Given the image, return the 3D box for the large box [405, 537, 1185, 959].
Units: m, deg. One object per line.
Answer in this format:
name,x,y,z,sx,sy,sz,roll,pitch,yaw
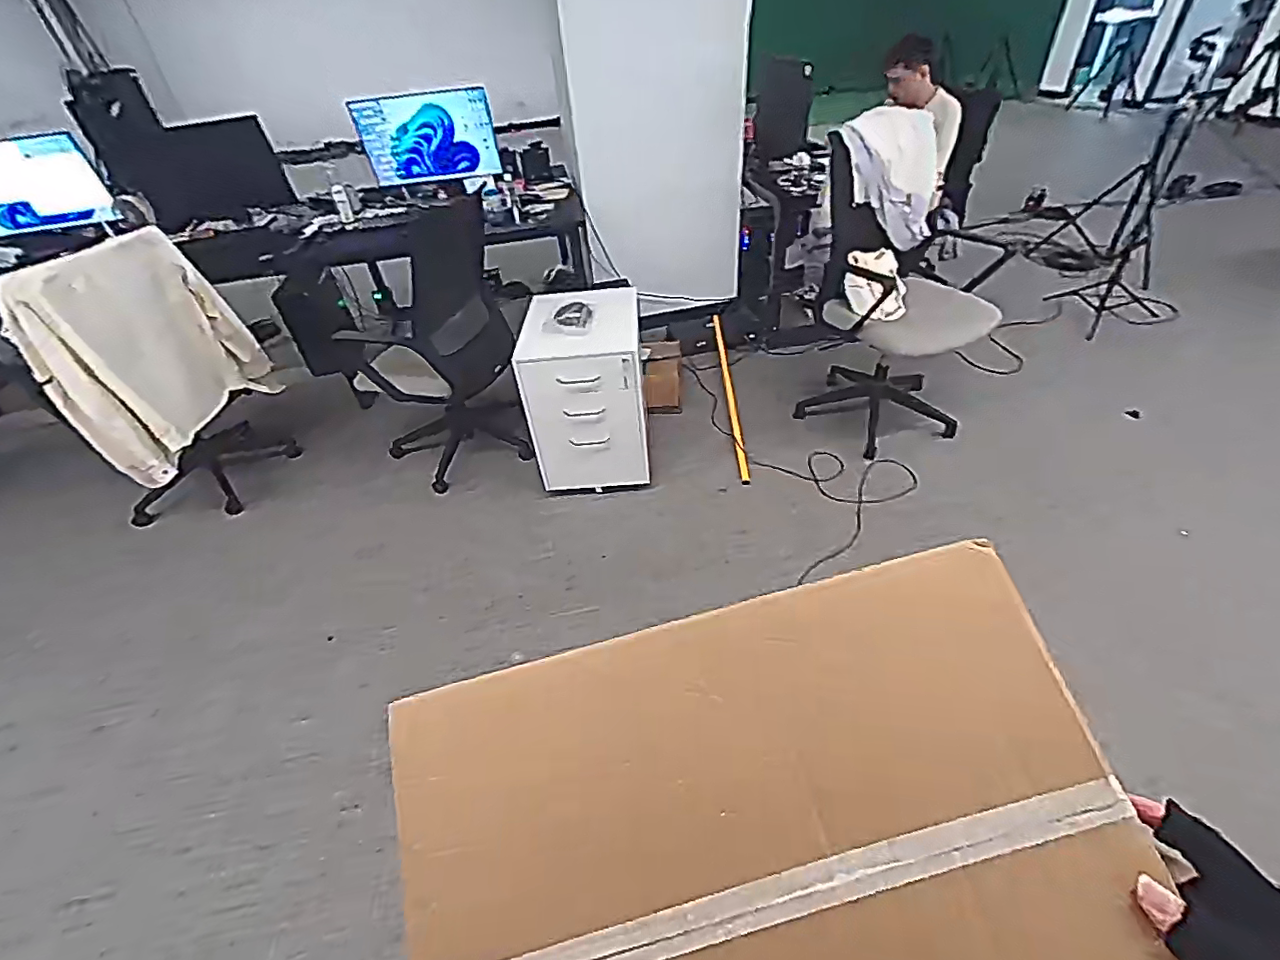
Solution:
large box,0.083,0.284,0.449,0.408,0.320,0.320,-16,69,-2
